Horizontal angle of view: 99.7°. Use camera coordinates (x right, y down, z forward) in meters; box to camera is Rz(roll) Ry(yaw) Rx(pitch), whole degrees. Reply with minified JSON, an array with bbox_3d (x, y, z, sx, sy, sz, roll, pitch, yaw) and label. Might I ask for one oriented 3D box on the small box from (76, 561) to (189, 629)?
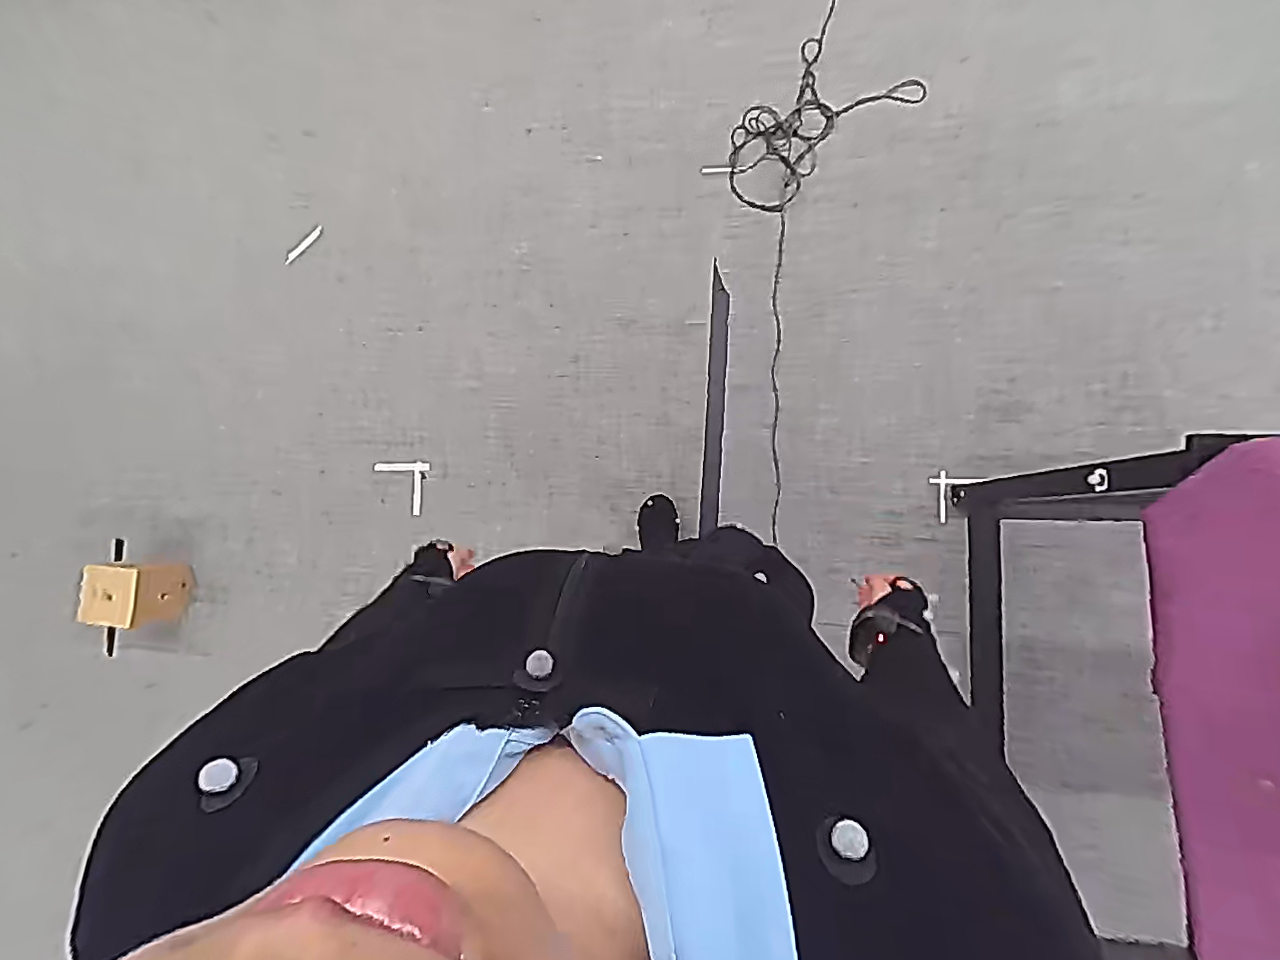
[{"bbox_3d":[-1.484,0.332,1.592,0.179,0.176,0.168,4,86,8],"label":"small box"}]
